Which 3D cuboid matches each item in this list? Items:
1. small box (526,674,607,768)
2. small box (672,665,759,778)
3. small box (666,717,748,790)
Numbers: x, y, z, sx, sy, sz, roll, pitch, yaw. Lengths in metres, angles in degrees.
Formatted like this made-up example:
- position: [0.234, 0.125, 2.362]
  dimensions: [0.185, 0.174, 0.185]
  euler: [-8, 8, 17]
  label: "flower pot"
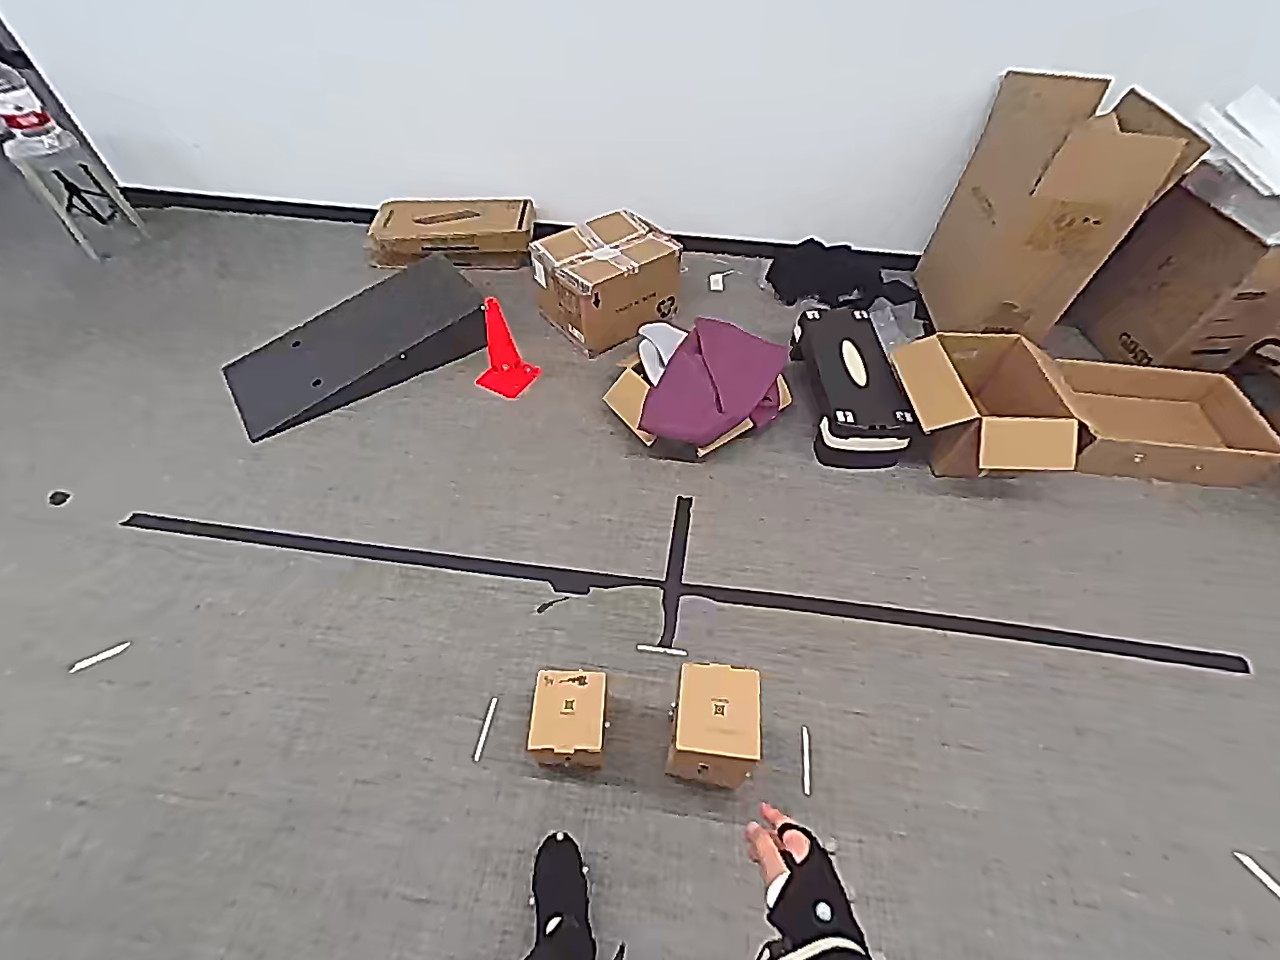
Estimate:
- position: [-0.167, 0.583, 1.299]
  dimensions: [0.168, 0.176, 0.179]
  euler: [2, 52, 1]
  label: "small box"
- position: [0.158, 0.517, 1.154]
  dimensions: [0.168, 0.176, 0.179]
  euler: [5, 53, 4]
  label: "small box"
- position: [0.160, 0.618, 1.281]
  dimensions: [0.179, 0.176, 0.168]
  euler: [10, 53, 5]
  label: "small box"
